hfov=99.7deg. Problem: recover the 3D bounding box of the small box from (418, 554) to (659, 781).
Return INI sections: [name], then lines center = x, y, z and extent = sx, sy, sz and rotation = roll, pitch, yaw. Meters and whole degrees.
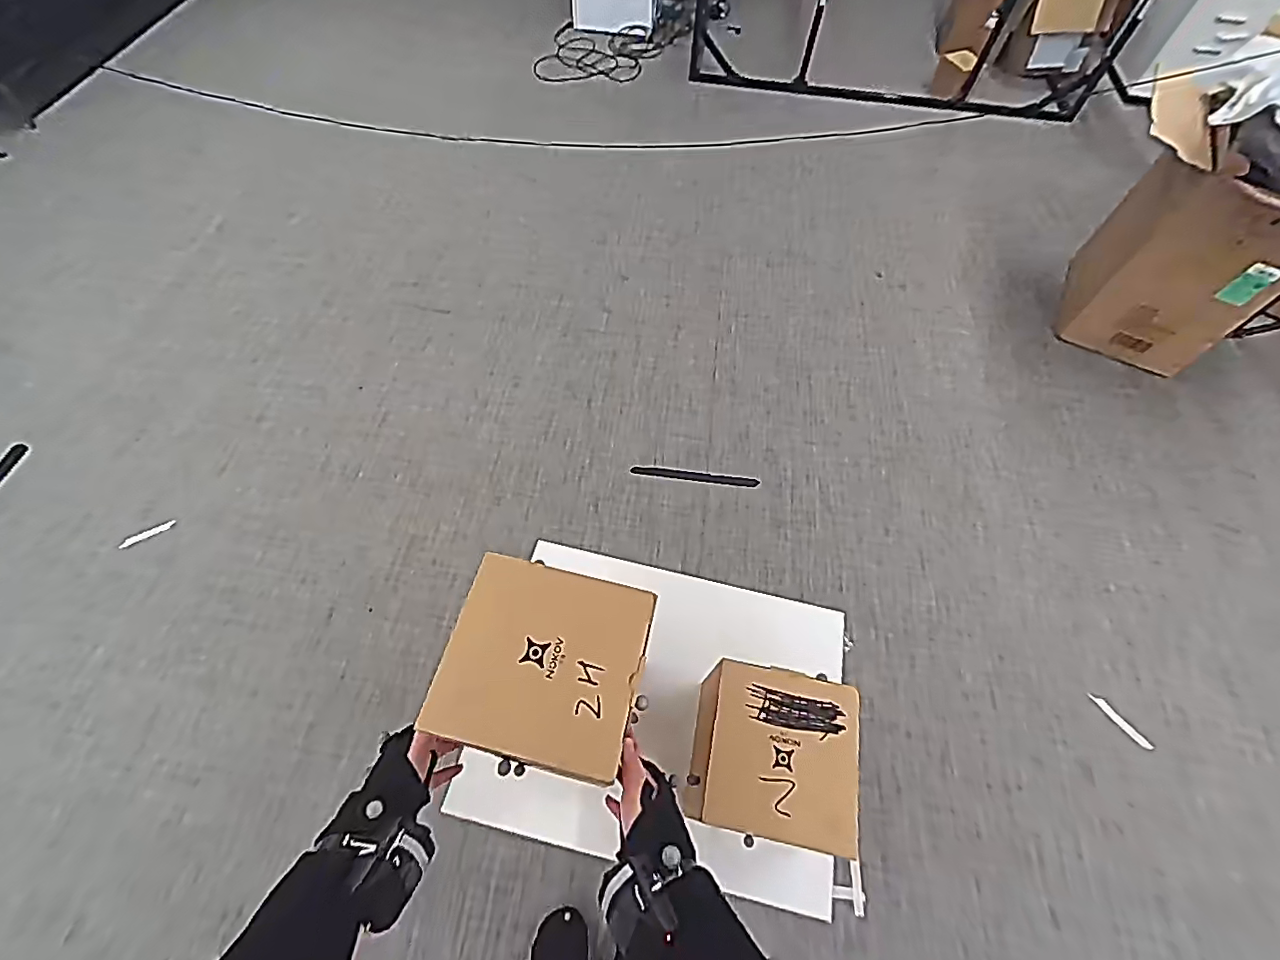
[small box]
center = -0.088, 0.198, 0.553
extent = 0.179, 0.176, 0.168
rotation = 14, 61, 4
